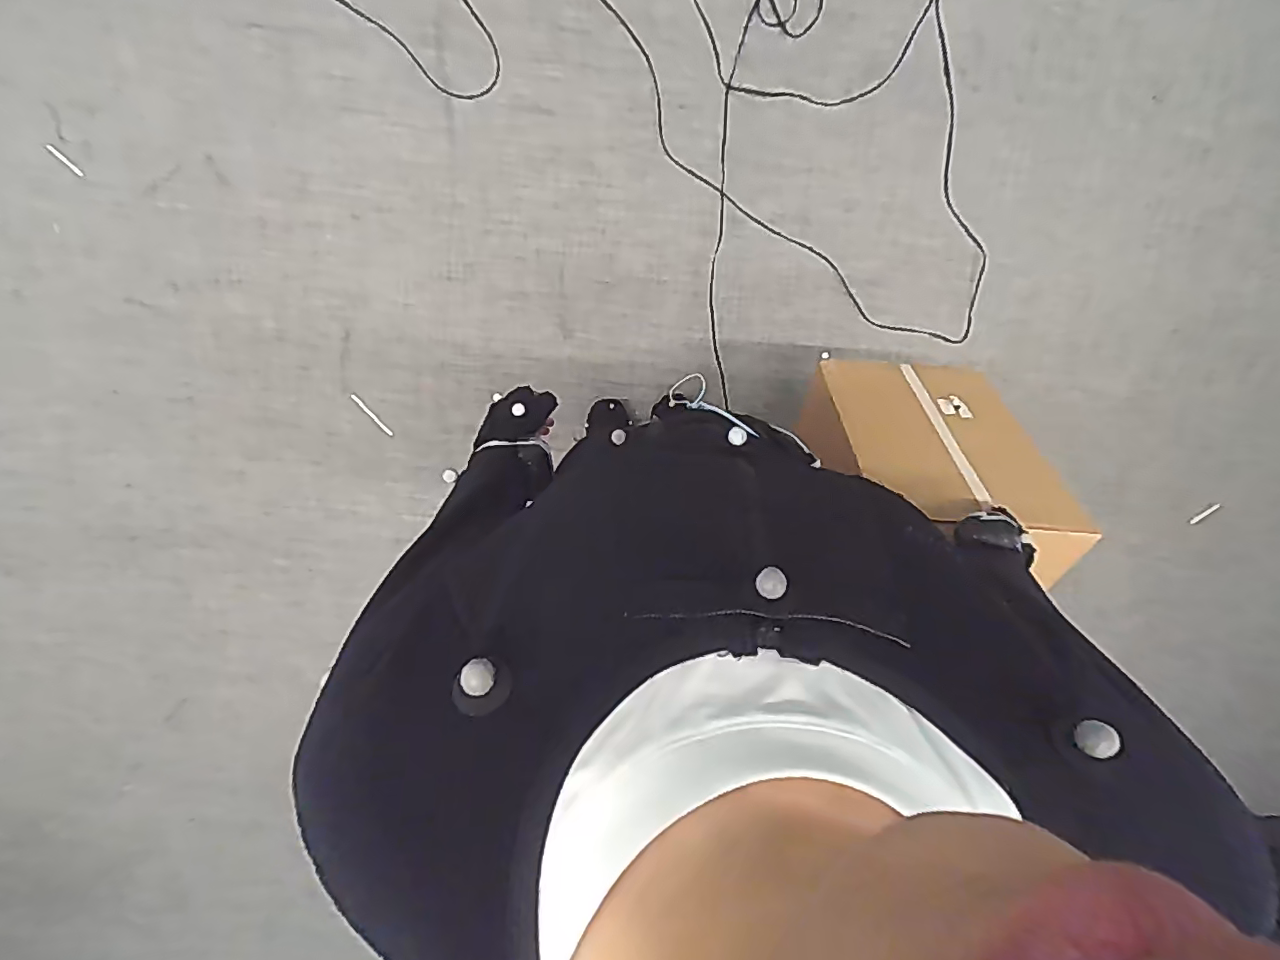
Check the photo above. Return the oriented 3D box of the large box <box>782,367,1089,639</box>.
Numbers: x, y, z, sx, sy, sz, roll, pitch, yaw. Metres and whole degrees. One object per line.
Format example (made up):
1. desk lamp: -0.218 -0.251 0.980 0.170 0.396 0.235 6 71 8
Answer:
1. large box: 0.474 0.038 0.992 0.320 0.408 0.320 4 134 -1
